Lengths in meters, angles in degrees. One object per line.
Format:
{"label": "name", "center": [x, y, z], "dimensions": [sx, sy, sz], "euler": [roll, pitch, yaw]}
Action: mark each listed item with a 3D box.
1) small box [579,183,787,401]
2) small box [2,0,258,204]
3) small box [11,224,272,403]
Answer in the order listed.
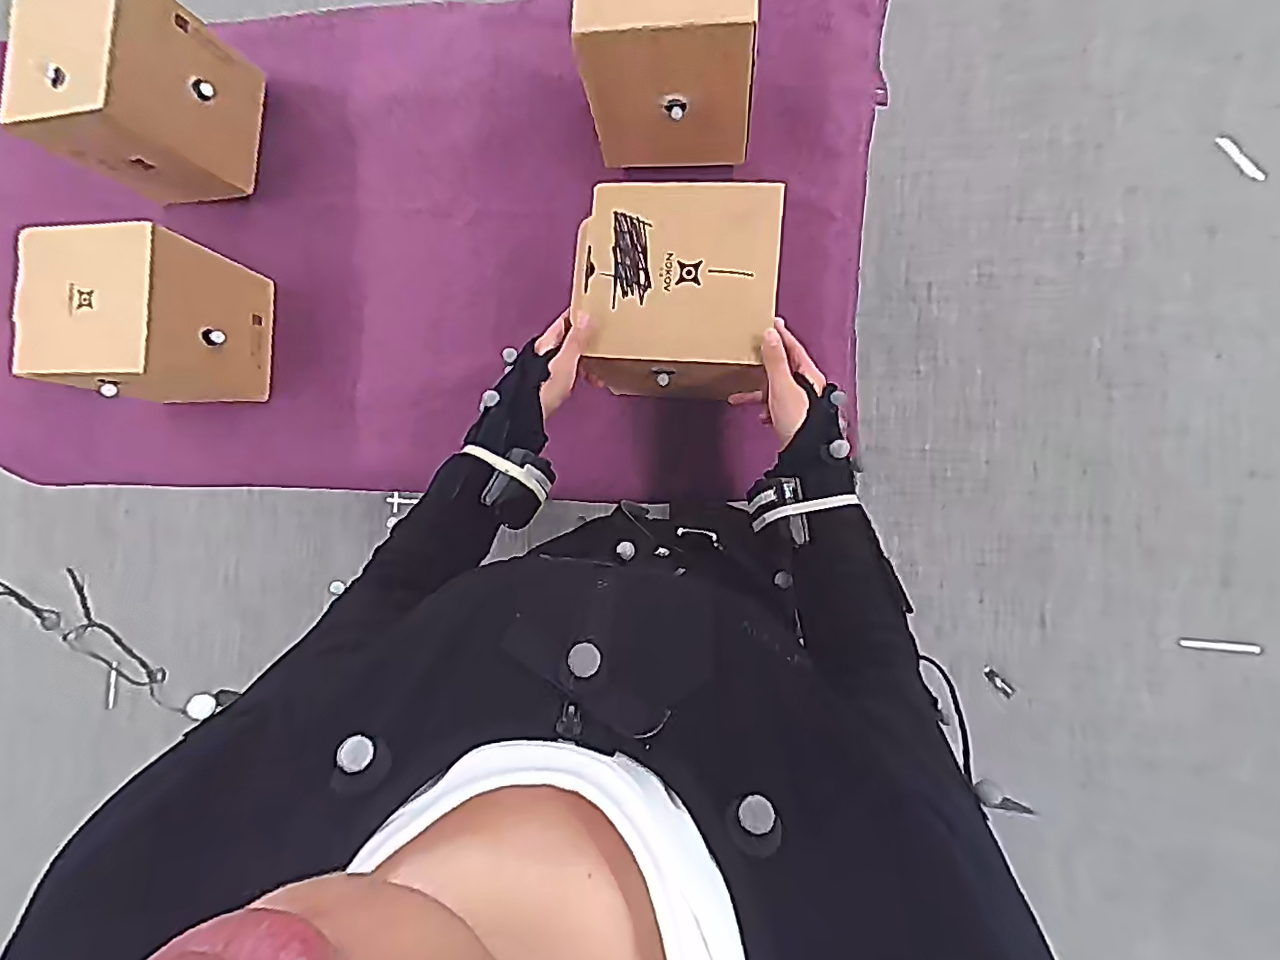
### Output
{"label": "small box", "center": [0.049, -0.181, 0.563], "dimensions": [0.179, 0.176, 0.168], "euler": [5, 88, 8]}
{"label": "small box", "center": [-0.604, -0.465, 0.659], "dimensions": [0.179, 0.168, 0.176], "euler": [5, 88, 16]}
{"label": "small box", "center": [-0.590, -0.190, 0.661], "dimensions": [0.179, 0.176, 0.168], "euler": [1, 88, 9]}
